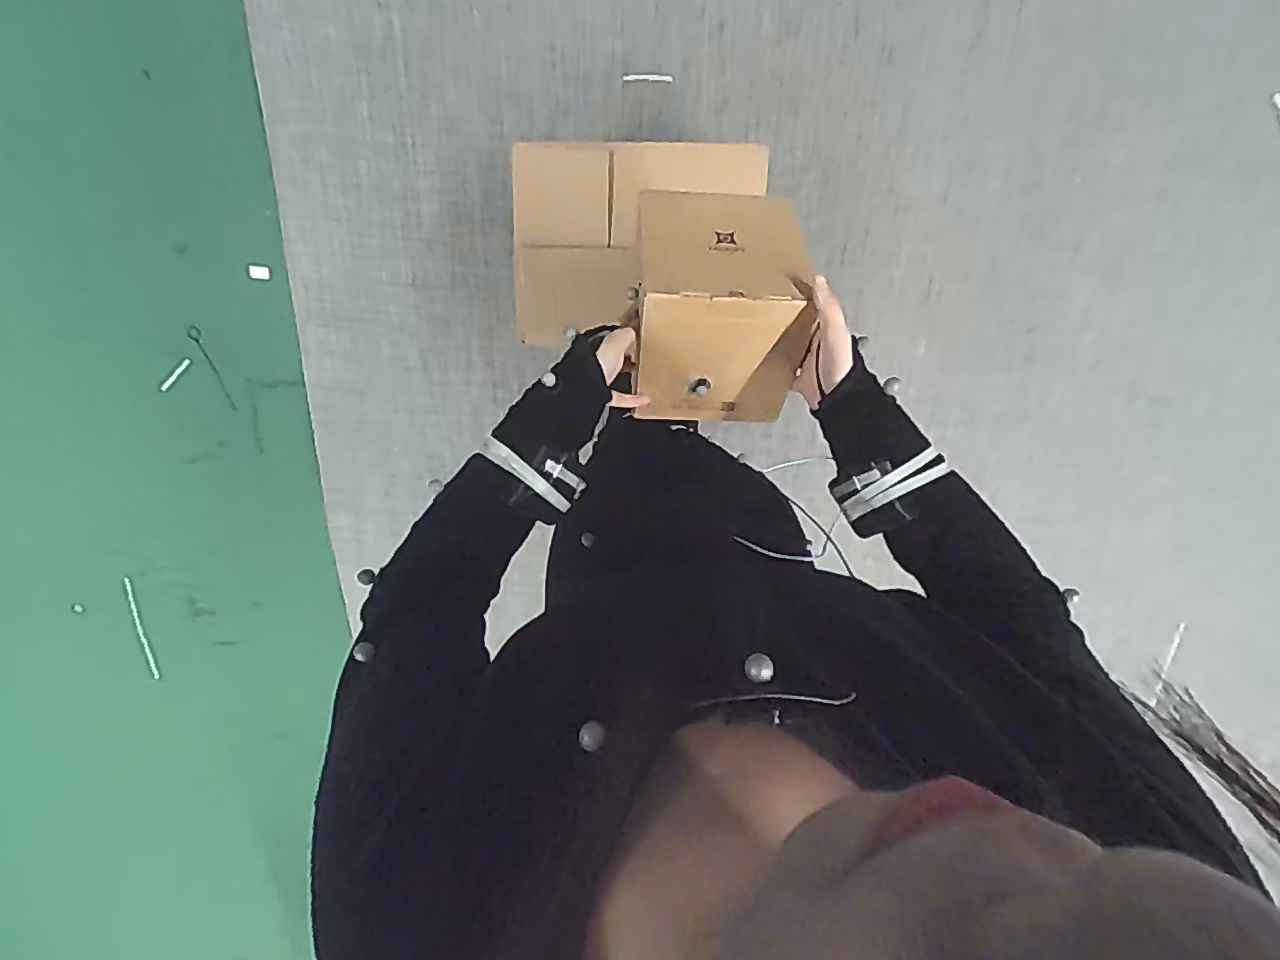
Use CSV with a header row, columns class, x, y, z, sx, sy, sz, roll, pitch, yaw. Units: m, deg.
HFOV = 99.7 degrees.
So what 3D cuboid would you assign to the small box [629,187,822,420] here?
class,x,y,z,sx,sy,sz,roll,pitch,yaw
small box,0.076,-0.188,0.593,0.168,0.179,0.176,1,147,-4
